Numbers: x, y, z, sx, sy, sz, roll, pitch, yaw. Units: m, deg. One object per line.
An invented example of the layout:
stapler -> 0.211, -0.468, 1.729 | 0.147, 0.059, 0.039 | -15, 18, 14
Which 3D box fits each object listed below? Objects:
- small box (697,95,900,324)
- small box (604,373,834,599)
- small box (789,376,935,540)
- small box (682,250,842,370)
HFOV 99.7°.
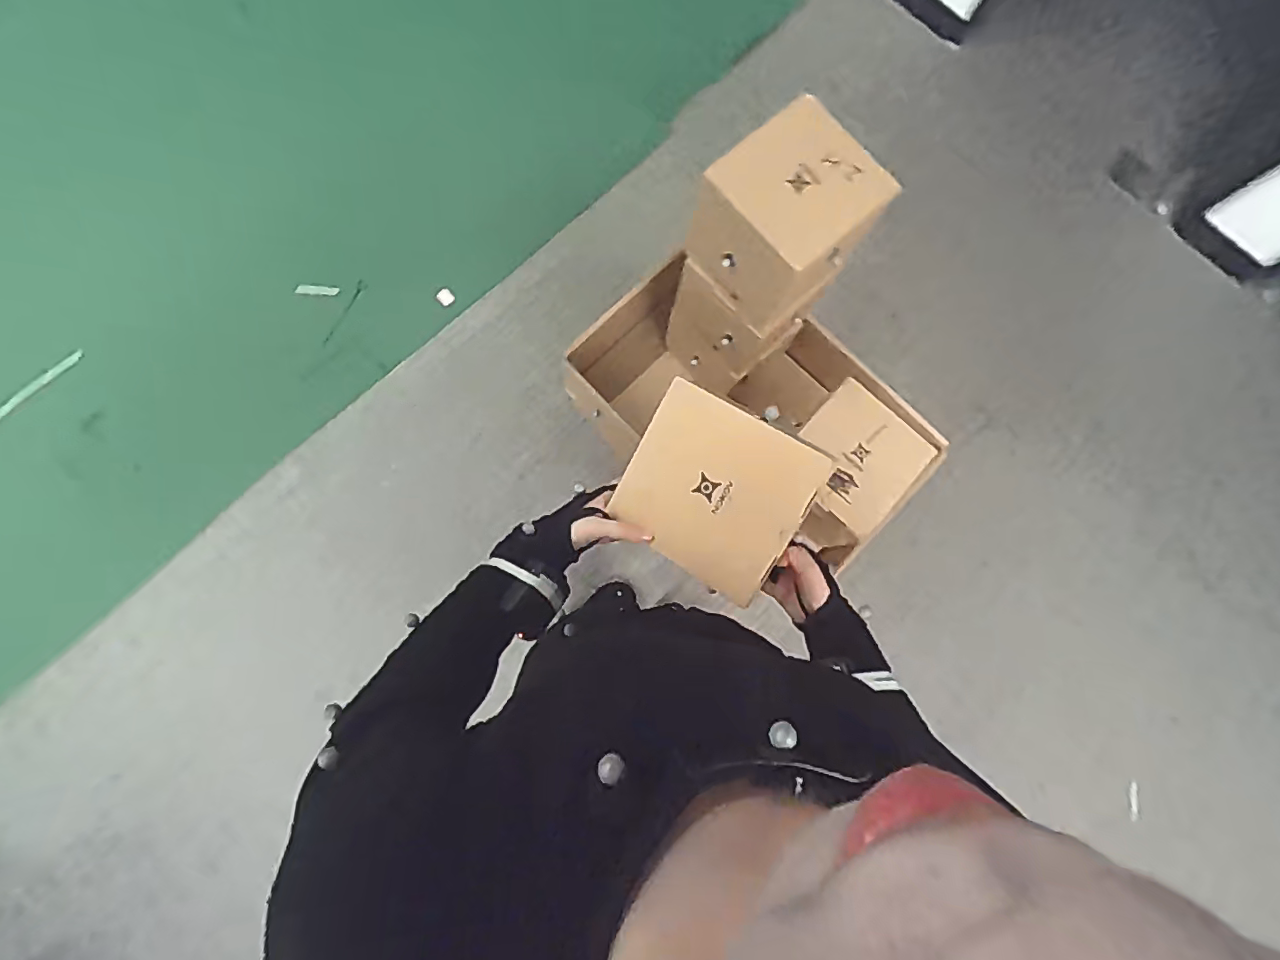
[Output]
small box -> 0.191, -0.341, 0.717 | 0.179, 0.176, 0.168 | -39, 86, -8
small box -> 0.094, 0.002, 0.602 | 0.179, 0.176, 0.168 | 31, 102, 15
small box -> 0.298, -0.021, 0.833 | 0.168, 0.176, 0.179 | 43, 82, 5
small box -> 0.184, -0.308, 0.878 | 0.179, 0.176, 0.168 | -41, 86, -9
